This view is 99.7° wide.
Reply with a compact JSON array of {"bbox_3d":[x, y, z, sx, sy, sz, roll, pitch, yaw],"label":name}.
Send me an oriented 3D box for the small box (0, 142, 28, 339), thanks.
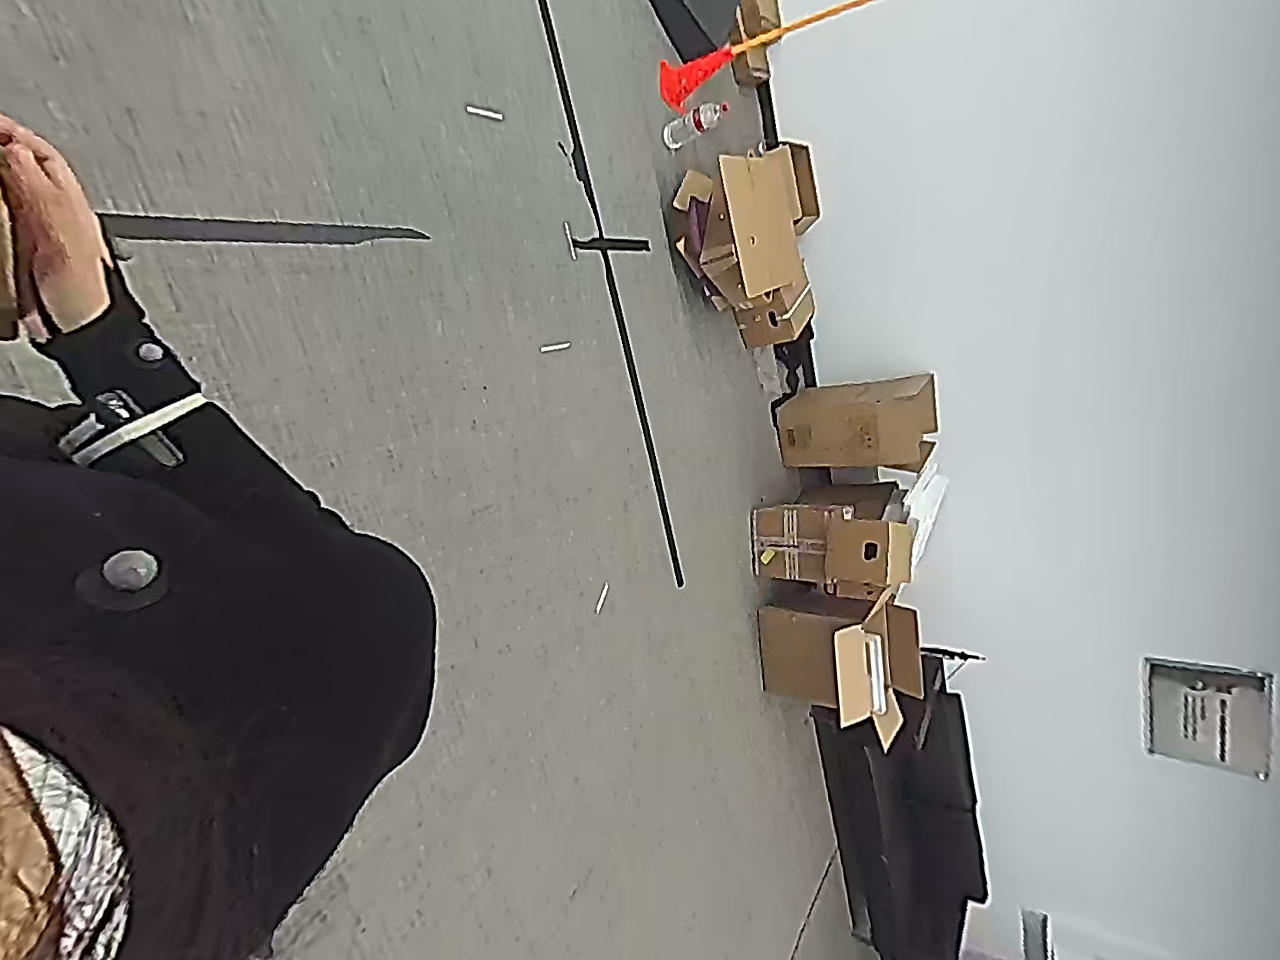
[{"bbox_3d":[-0.433,-0.173,0.256,0.168,0.176,0.179,-19,94,-49],"label":"small box"}]
